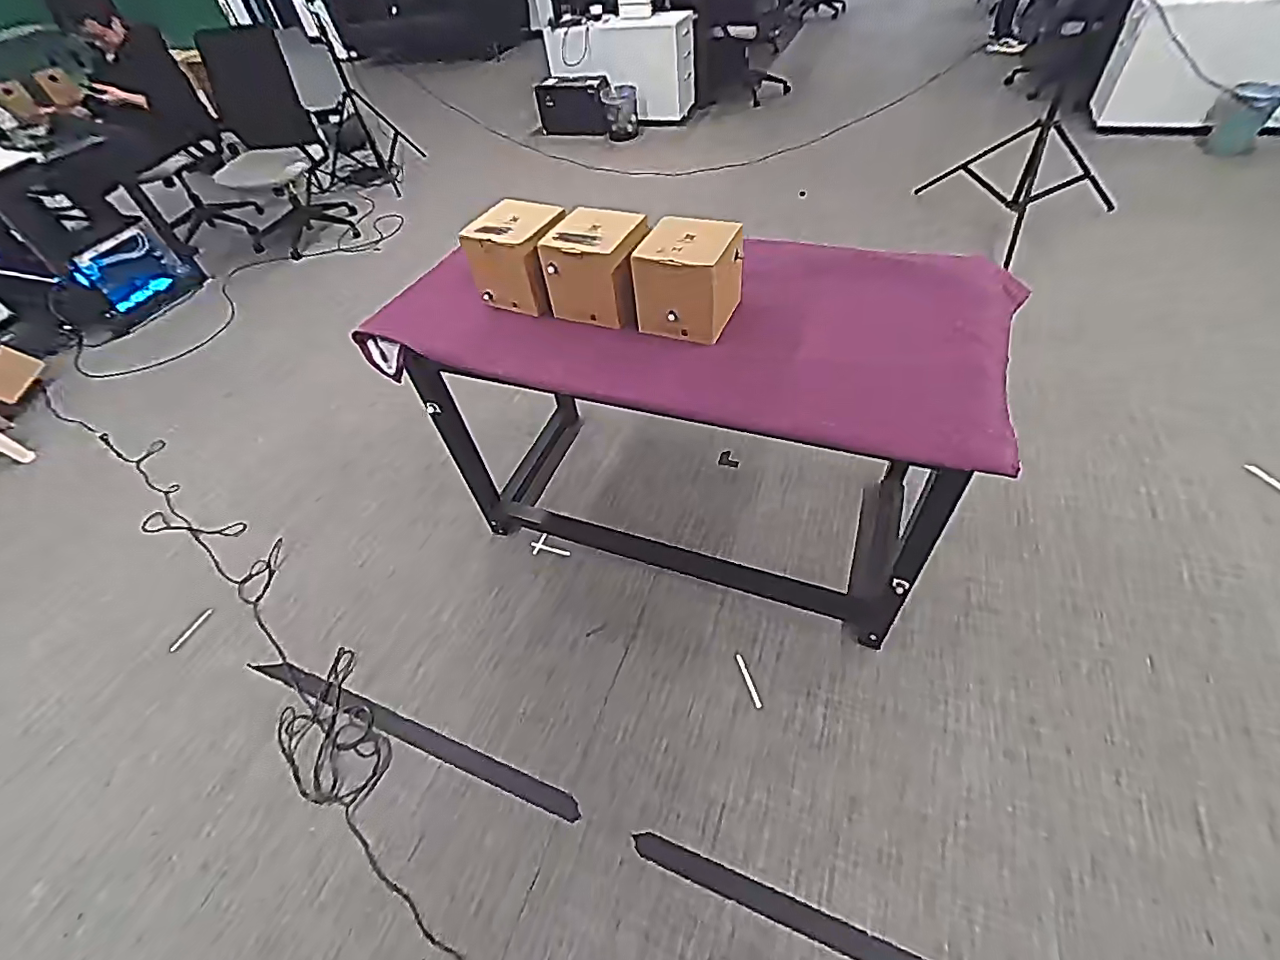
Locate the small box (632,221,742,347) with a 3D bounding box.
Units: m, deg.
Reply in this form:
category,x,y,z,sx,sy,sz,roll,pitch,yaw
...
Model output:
category,x,y,z,sx,sy,sz,roll,pitch,yaw
small box,0.098,-0.395,1.087,0.168,0.176,0.179,15,53,21
